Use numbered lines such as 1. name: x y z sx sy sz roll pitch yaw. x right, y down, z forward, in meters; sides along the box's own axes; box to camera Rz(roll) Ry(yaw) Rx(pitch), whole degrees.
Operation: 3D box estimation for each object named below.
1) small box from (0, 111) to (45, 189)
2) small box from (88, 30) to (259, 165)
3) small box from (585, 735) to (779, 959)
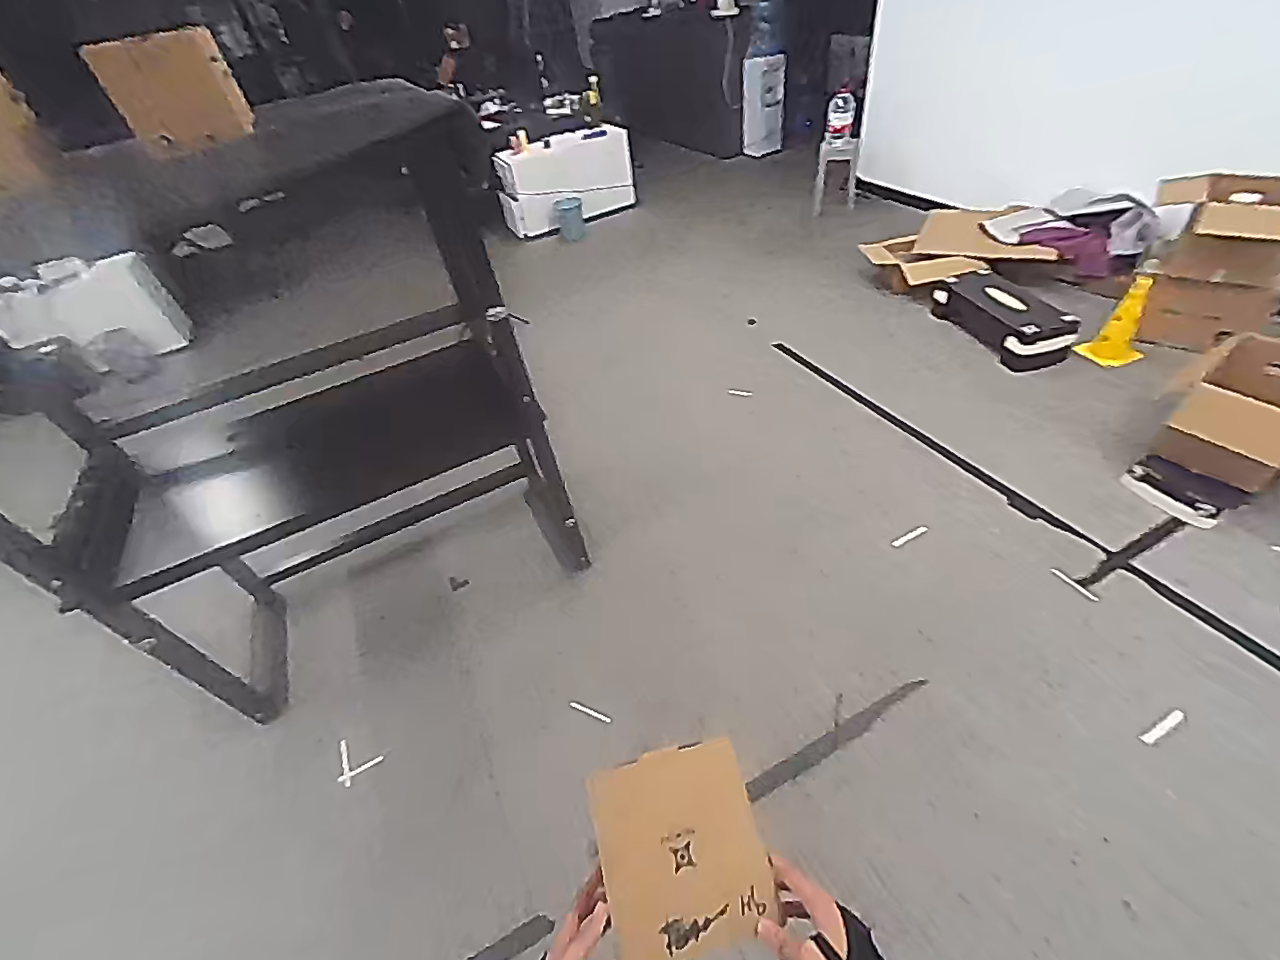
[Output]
1. small box: -1.303 -0.642 1.018 0.179 0.176 0.168 -26 46 -16
2. small box: -0.828 -0.692 0.983 0.168 0.176 0.179 -26 45 -16
3. small box: 0.031 0.416 0.622 0.168 0.176 0.179 -11 60 -11
